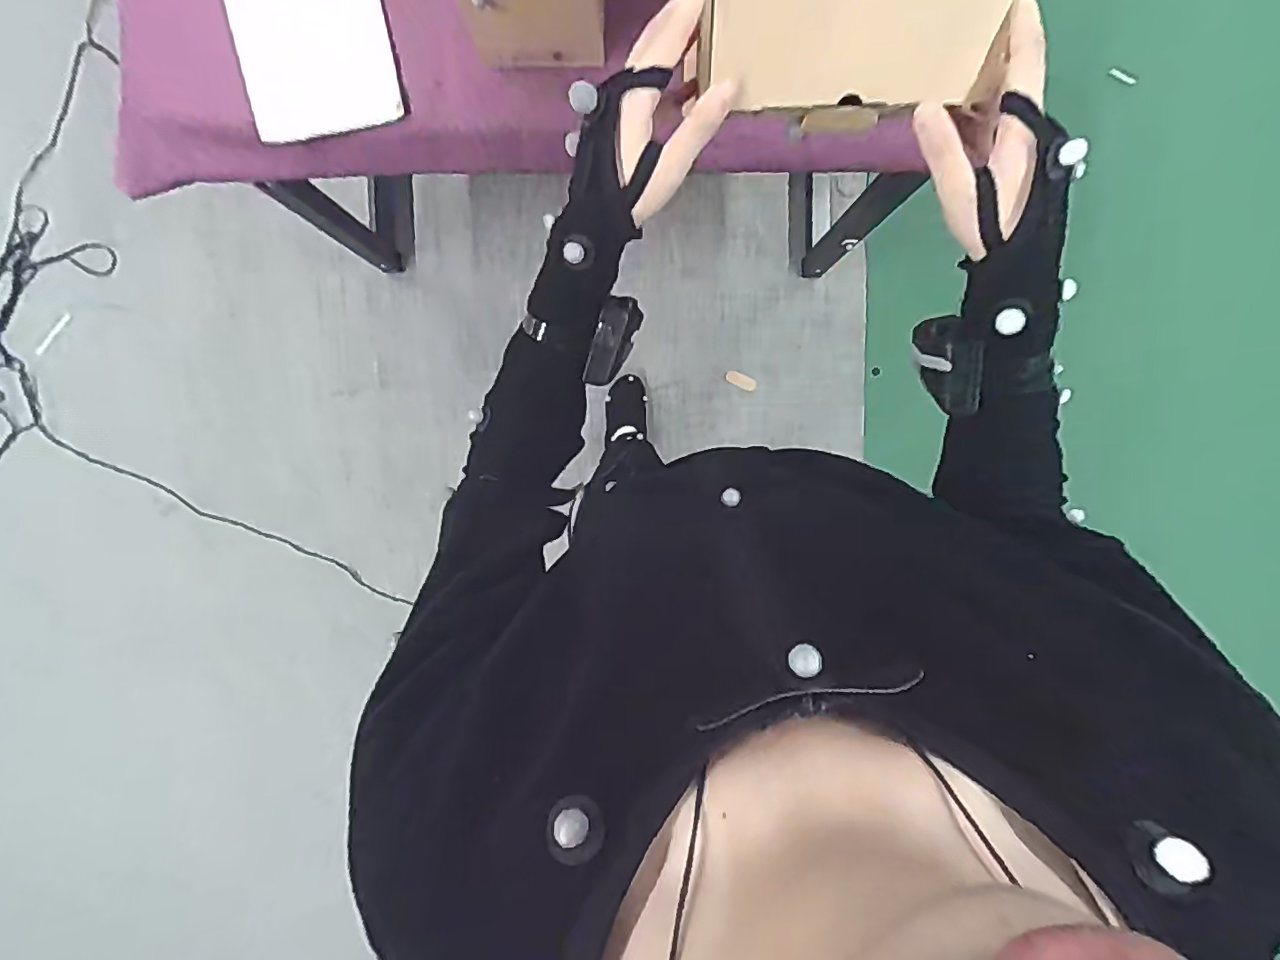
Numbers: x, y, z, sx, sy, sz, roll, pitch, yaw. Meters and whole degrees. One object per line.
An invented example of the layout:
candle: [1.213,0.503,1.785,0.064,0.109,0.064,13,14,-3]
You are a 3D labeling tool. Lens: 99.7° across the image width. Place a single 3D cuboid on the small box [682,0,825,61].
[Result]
small box: [0.141,-0.646,0.648,0.168,0.176,0.179,0,93,-1]
